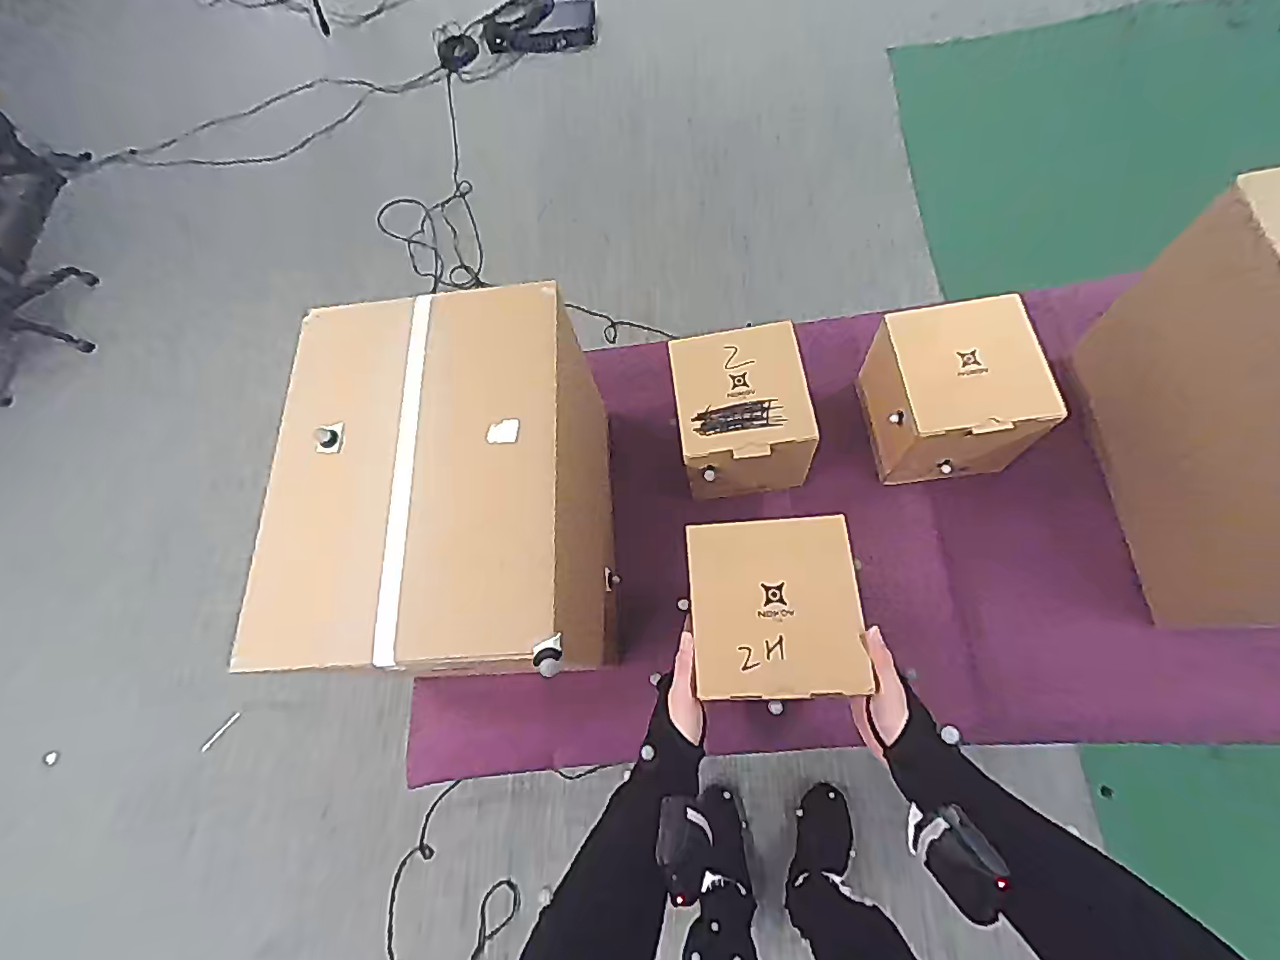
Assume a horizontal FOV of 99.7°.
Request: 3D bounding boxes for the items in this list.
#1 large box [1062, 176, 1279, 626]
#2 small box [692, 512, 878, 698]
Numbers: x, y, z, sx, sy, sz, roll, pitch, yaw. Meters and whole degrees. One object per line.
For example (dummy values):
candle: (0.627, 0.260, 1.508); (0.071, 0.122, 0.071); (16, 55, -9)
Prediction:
large box: (0.757, -0.068, 0.579); (0.320, 0.320, 0.408); (-5, 69, 8)
small box: (0.146, 0.148, 0.607); (0.168, 0.176, 0.179); (-5, 68, 7)
